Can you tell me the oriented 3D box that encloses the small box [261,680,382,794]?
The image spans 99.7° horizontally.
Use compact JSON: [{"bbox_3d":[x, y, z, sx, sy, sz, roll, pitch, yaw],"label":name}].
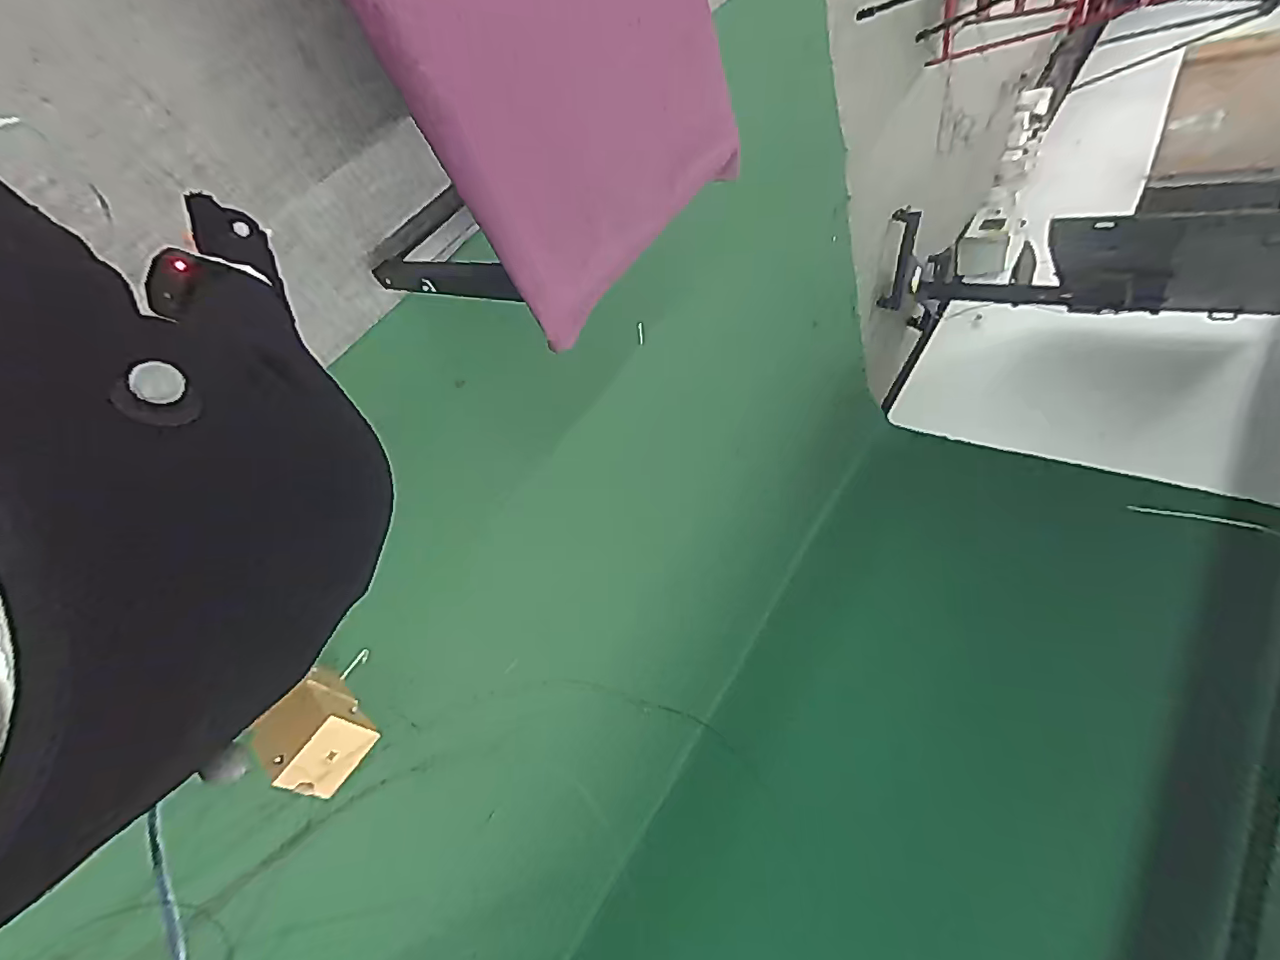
[{"bbox_3d":[-0.787,0.626,1.330,0.179,0.176,0.168,-52,137,-19],"label":"small box"}]
